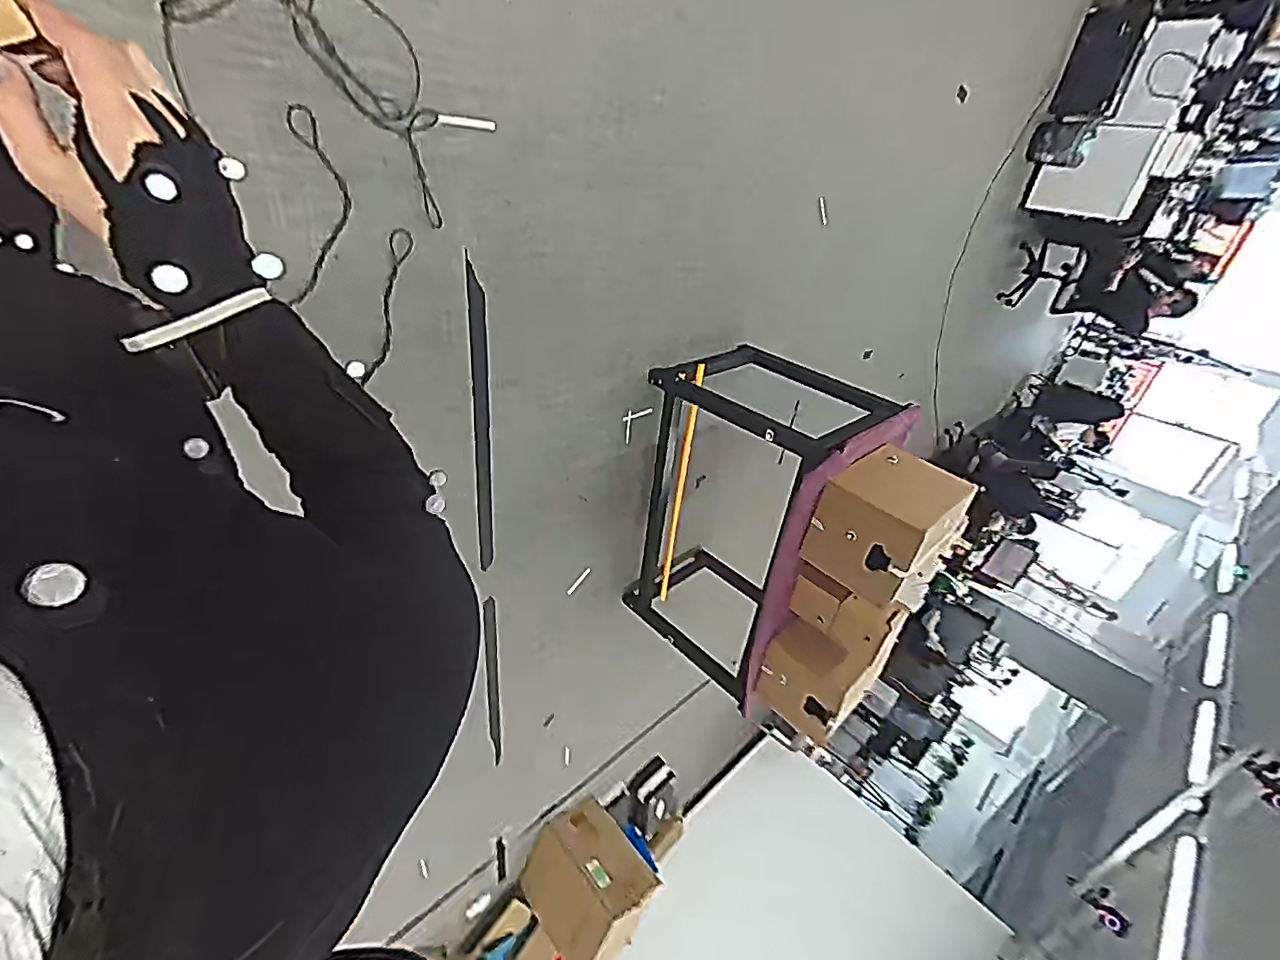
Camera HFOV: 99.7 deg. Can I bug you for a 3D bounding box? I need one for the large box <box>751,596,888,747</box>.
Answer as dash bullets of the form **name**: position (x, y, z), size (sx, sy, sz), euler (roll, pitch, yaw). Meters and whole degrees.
- **large box**: position (0.690, 0.725, 2.102), size (0.408, 0.320, 0.320), euler (-24, 134, -39)
